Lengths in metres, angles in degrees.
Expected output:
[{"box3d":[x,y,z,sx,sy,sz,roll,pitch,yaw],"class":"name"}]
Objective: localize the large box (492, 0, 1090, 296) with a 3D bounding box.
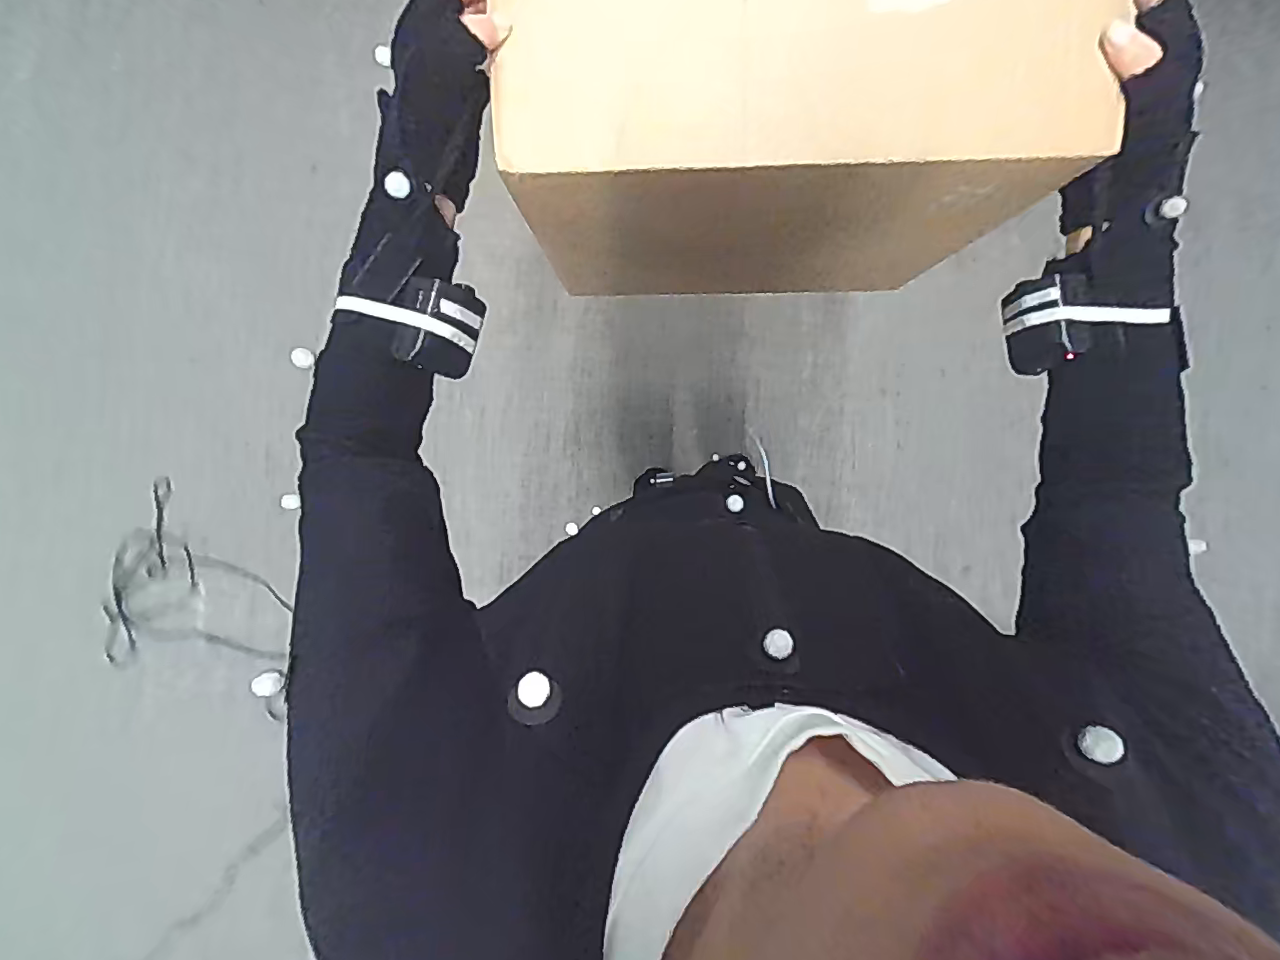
[{"box3d":[0.094,-0.377,0.504,0.408,0.320,0.320,-3,94,0],"class":"large box"}]
